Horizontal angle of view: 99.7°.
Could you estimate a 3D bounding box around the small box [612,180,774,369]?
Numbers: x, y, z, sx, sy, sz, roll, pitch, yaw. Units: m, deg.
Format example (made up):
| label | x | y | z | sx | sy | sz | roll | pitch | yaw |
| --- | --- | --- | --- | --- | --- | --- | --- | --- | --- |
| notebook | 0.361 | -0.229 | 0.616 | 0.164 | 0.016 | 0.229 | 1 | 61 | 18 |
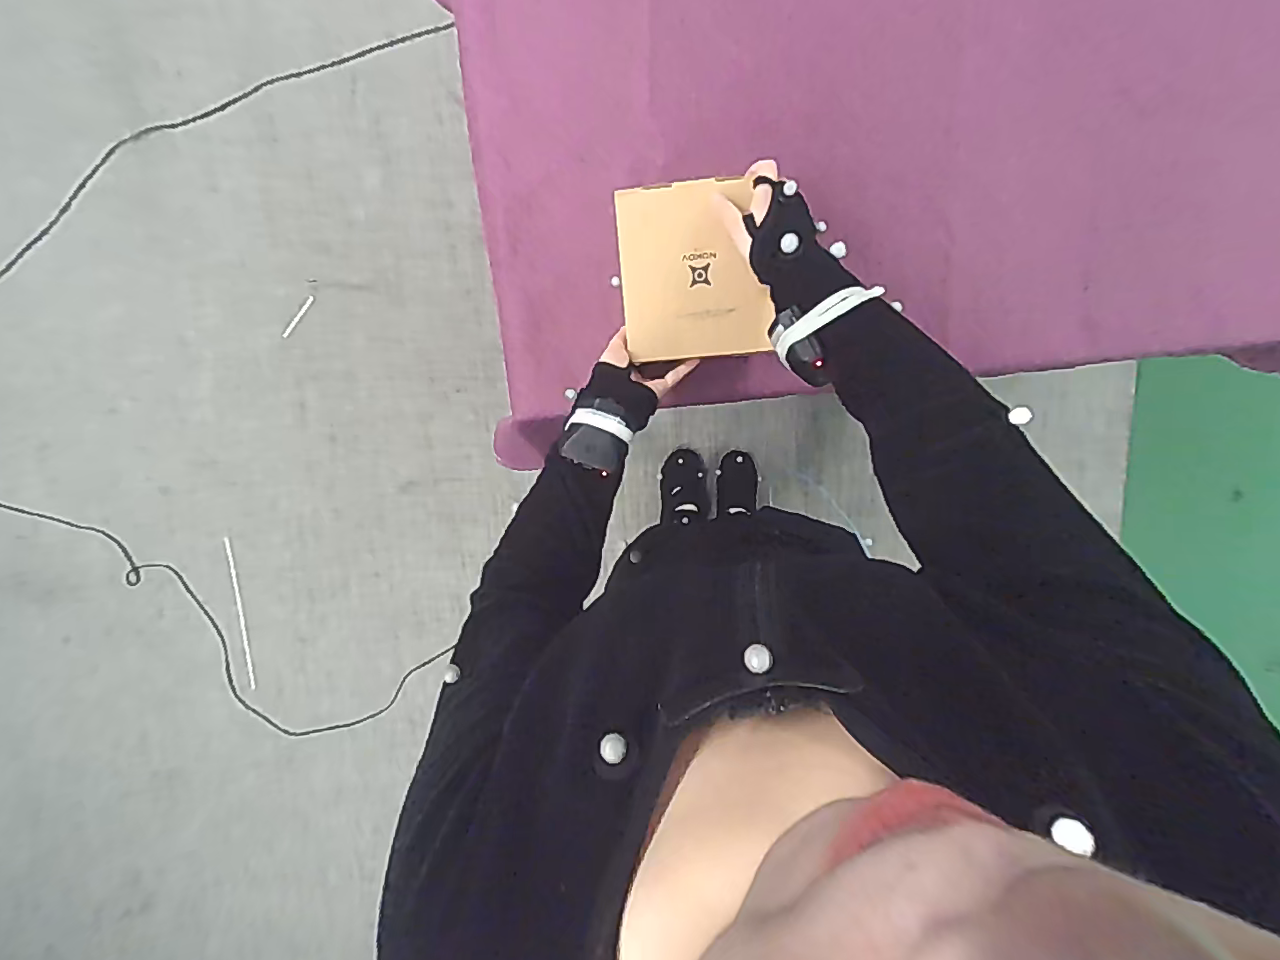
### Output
| label | x | y | z | sx | sy | sz | roll | pitch | yaw |
| --- | --- | --- | --- | --- | --- | --- | --- | --- | --- |
| small box | 0.061 | -0.228 | 0.643 | 0.168 | 0.176 | 0.179 | -4 | 101 | 5 |
